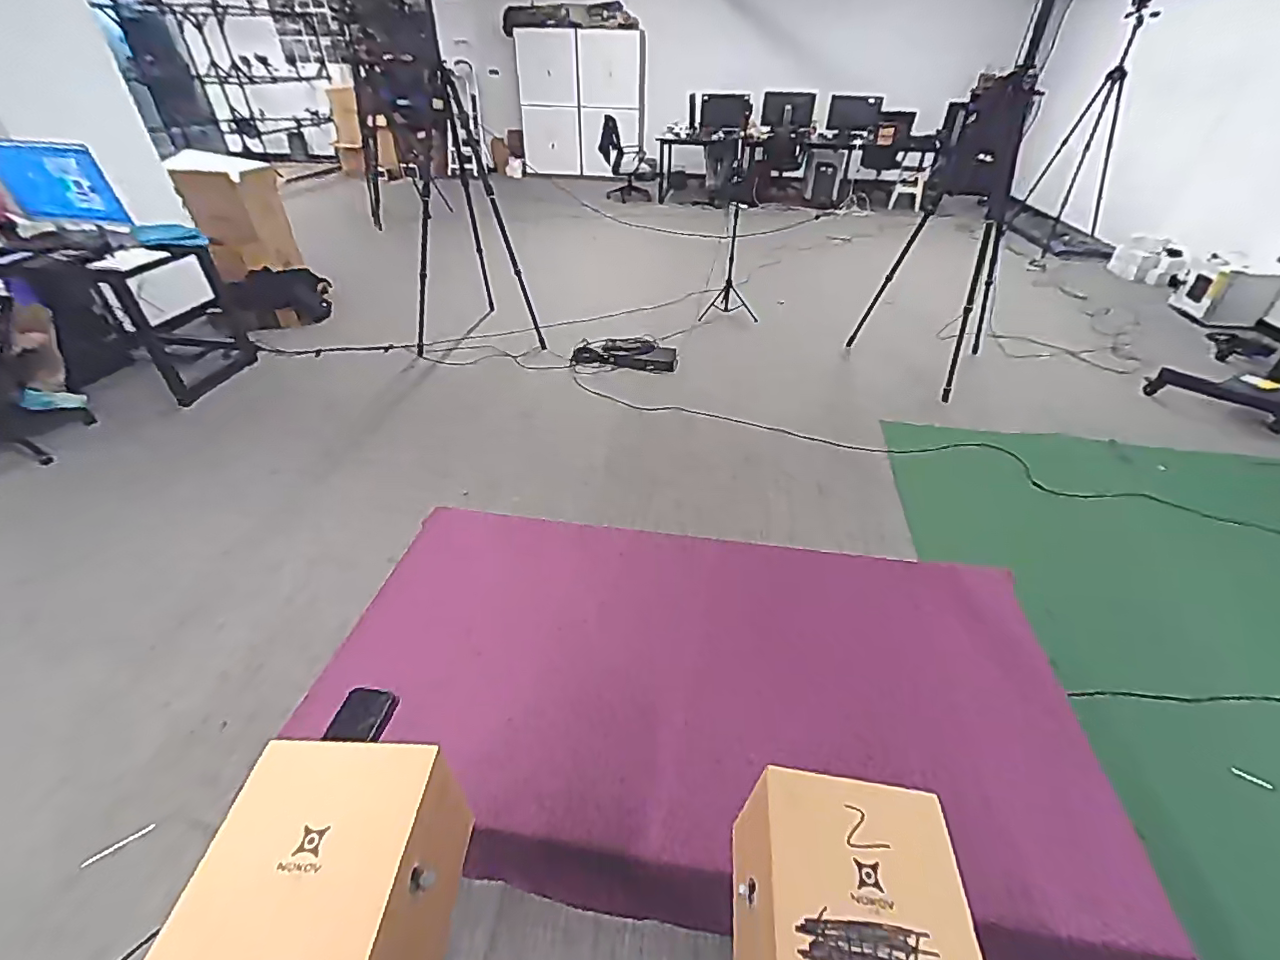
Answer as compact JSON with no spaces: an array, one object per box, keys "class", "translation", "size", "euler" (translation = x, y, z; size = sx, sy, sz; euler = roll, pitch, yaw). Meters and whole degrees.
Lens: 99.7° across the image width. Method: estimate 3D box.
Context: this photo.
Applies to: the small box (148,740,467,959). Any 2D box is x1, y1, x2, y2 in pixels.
[{"class":"small box","translation":[-0.269,0.366,0.493],"size":[0.168,0.176,0.179],"euler":[2,39,2]}]
